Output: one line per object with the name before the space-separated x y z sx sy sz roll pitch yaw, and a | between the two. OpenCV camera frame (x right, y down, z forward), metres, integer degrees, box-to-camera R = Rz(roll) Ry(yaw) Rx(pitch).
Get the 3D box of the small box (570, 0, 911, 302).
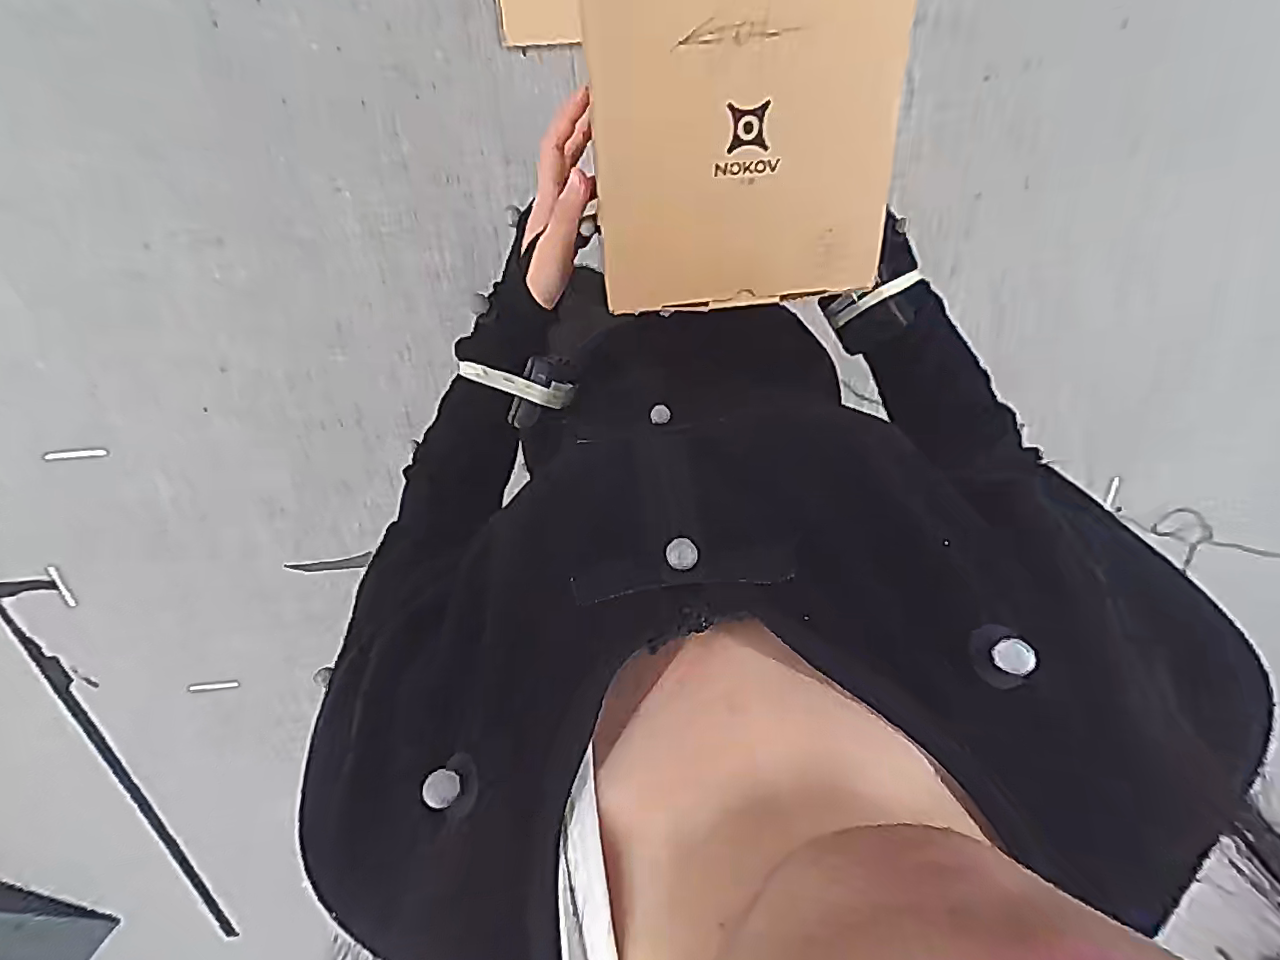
small box | 0.048 -0.230 0.352 0.168 0.176 0.179 -8 120 -3
